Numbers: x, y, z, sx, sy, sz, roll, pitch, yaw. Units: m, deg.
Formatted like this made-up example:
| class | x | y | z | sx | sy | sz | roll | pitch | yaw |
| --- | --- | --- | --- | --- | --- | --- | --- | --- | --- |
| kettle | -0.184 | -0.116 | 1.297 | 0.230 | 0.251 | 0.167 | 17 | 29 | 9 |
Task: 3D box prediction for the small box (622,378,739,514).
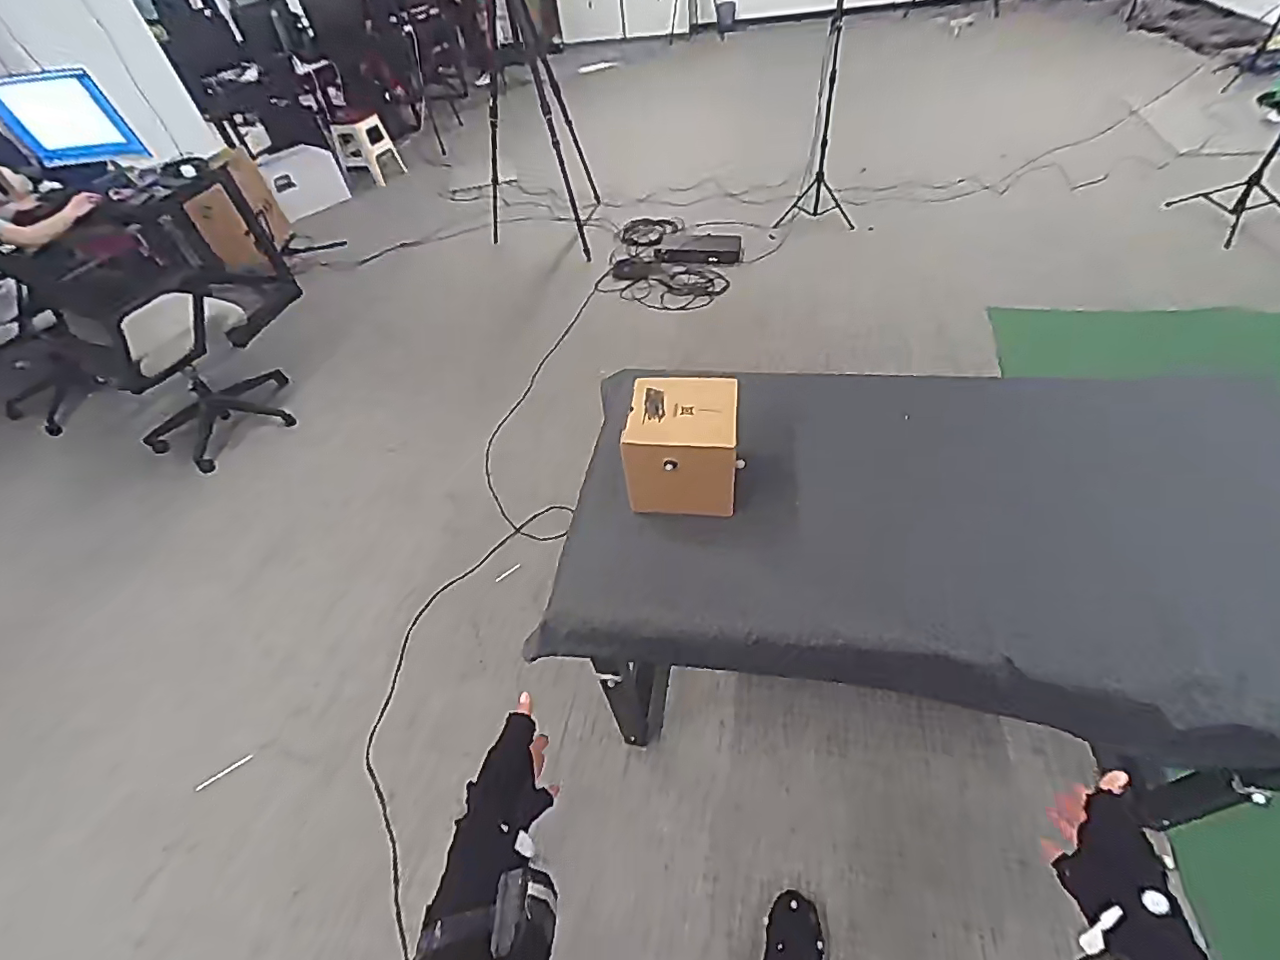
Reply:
| class | x | y | z | sx | sy | sz | roll | pitch | yaw |
| --- | --- | --- | --- | --- | --- | --- | --- | --- | --- |
| small box | 0.077 | -0.056 | 0.925 | 0.179 | 0.176 | 0.168 | 3 | 49 | 9 |
